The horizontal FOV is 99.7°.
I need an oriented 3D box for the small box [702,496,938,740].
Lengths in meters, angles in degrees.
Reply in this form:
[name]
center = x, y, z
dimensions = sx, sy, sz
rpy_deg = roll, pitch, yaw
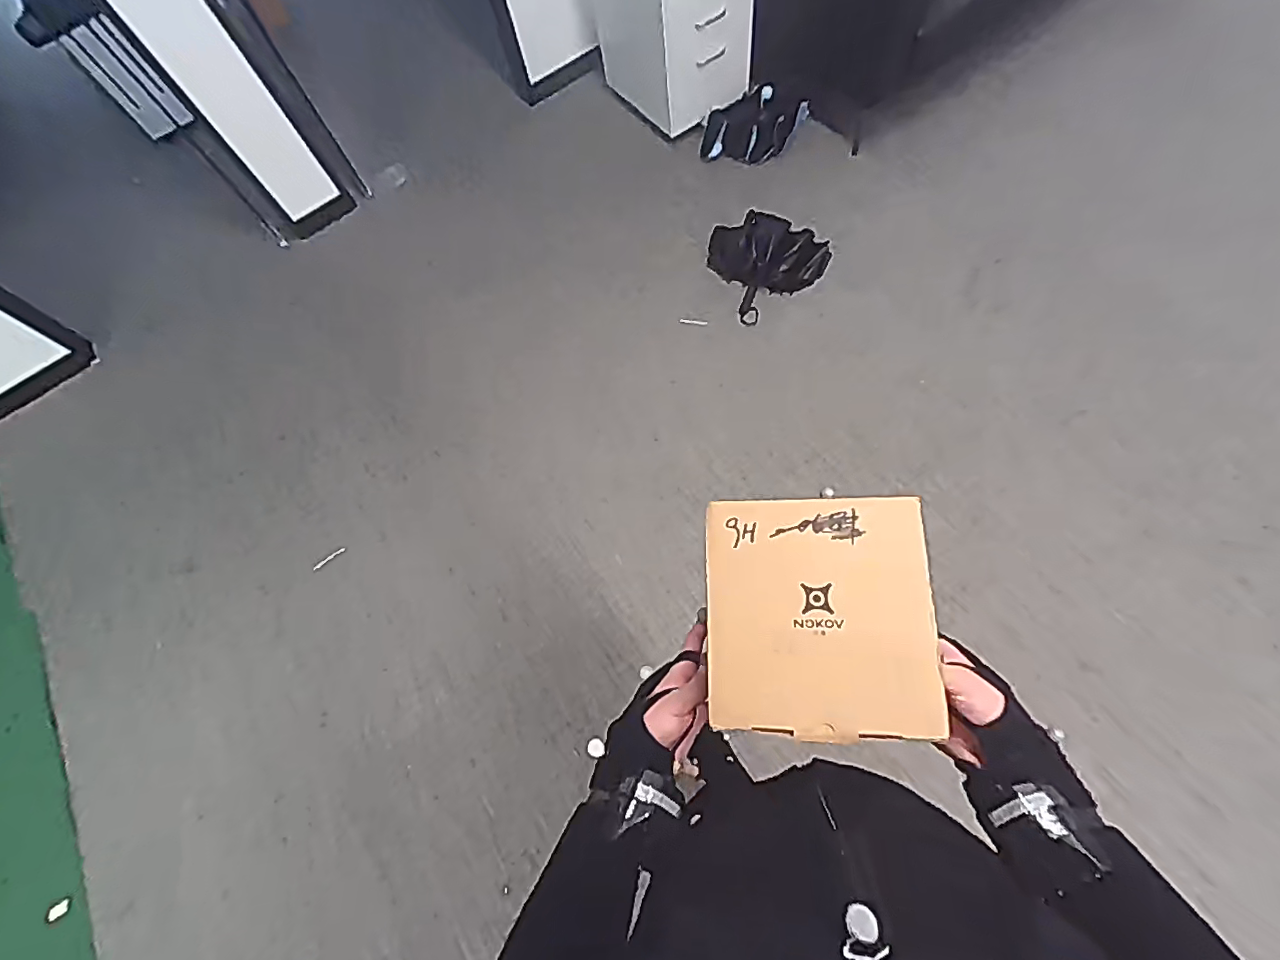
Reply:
[small box]
center = 0.142, 0.117, 0.483
dimensions = 0.168, 0.176, 0.179
rpy_deg = -1, 75, 8
